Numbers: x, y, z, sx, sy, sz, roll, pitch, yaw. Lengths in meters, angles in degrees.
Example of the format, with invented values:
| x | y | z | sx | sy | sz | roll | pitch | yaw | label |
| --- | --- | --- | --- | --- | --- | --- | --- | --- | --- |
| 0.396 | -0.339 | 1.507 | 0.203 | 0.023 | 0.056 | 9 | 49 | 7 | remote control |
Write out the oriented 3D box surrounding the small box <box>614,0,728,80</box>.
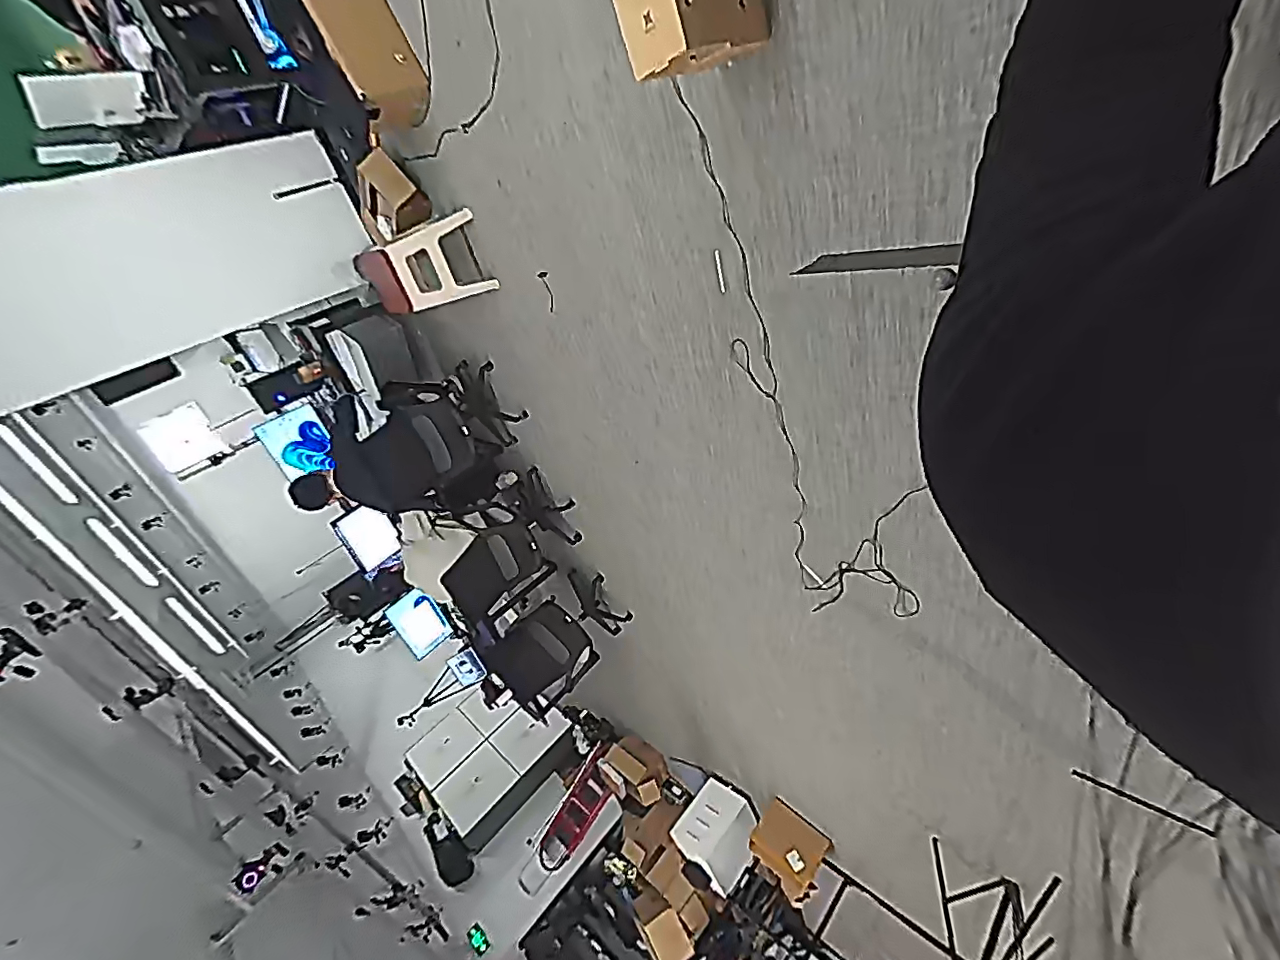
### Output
| x | y | z | sx | sy | sz | roll | pitch | yaw | label |
| --- | --- | --- | --- | --- | --- | --- | --- | --- | --- |
| 0.073 | -1.042 | 1.212 | 0.168 | 0.176 | 0.179 | 9 | 128 | 47 | small box |

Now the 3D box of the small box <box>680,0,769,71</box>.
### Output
| x | y | z | sx | sy | sz | roll | pitch | yaw | label |
| --- | --- | --- | --- | --- | --- | --- | --- | --- | --- |
| 0.185 | -1.124 | 1.298 | 0.168 | 0.176 | 0.179 | 13 | 133 | 46 | small box |
